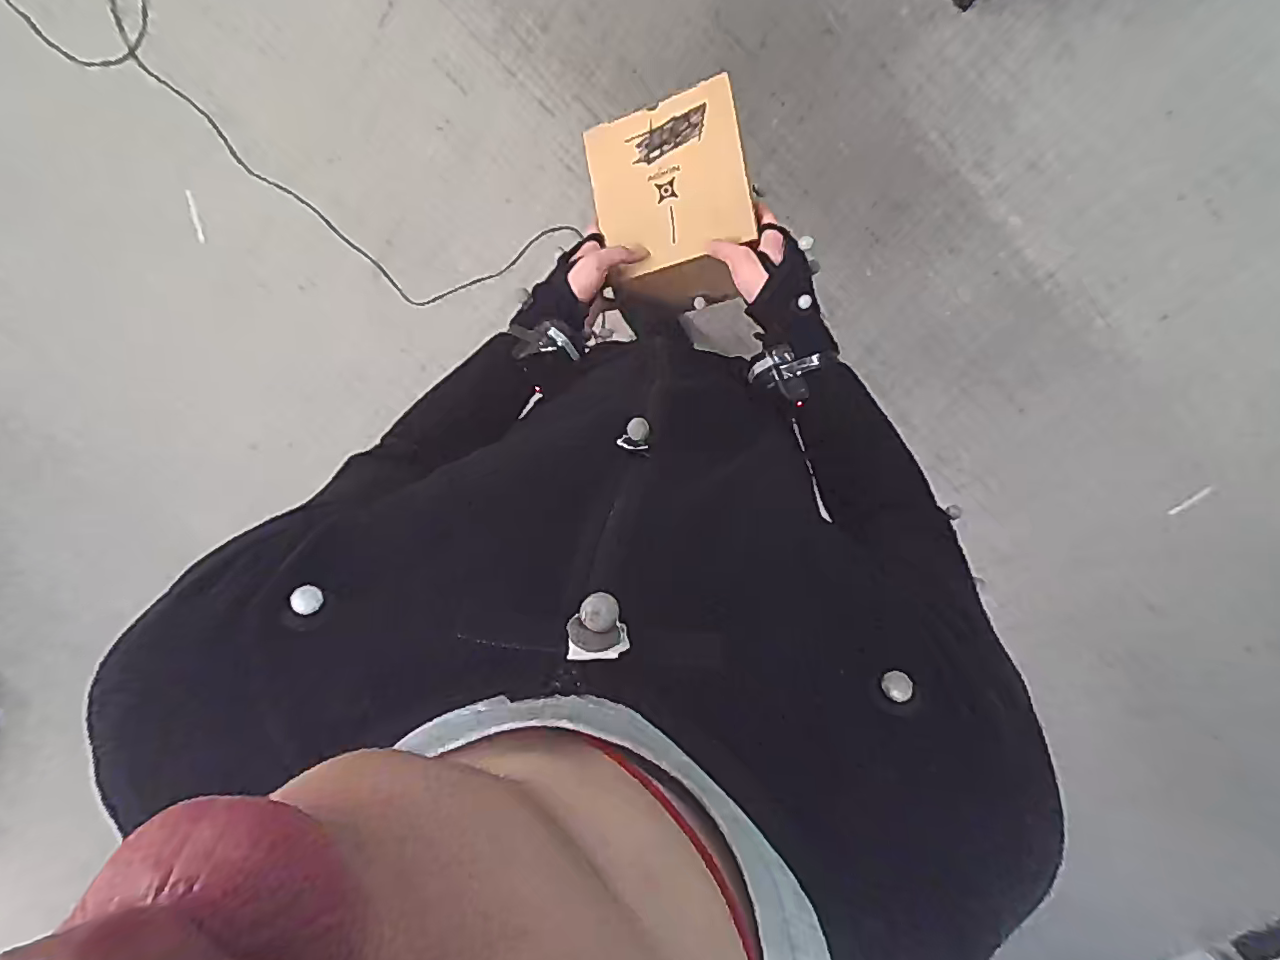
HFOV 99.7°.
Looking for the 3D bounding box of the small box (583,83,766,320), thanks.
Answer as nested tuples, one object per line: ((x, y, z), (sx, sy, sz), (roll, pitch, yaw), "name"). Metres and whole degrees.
((0.050, -0.316, 0.656), (0.168, 0.176, 0.179), (-10, 89, 21), "small box")
